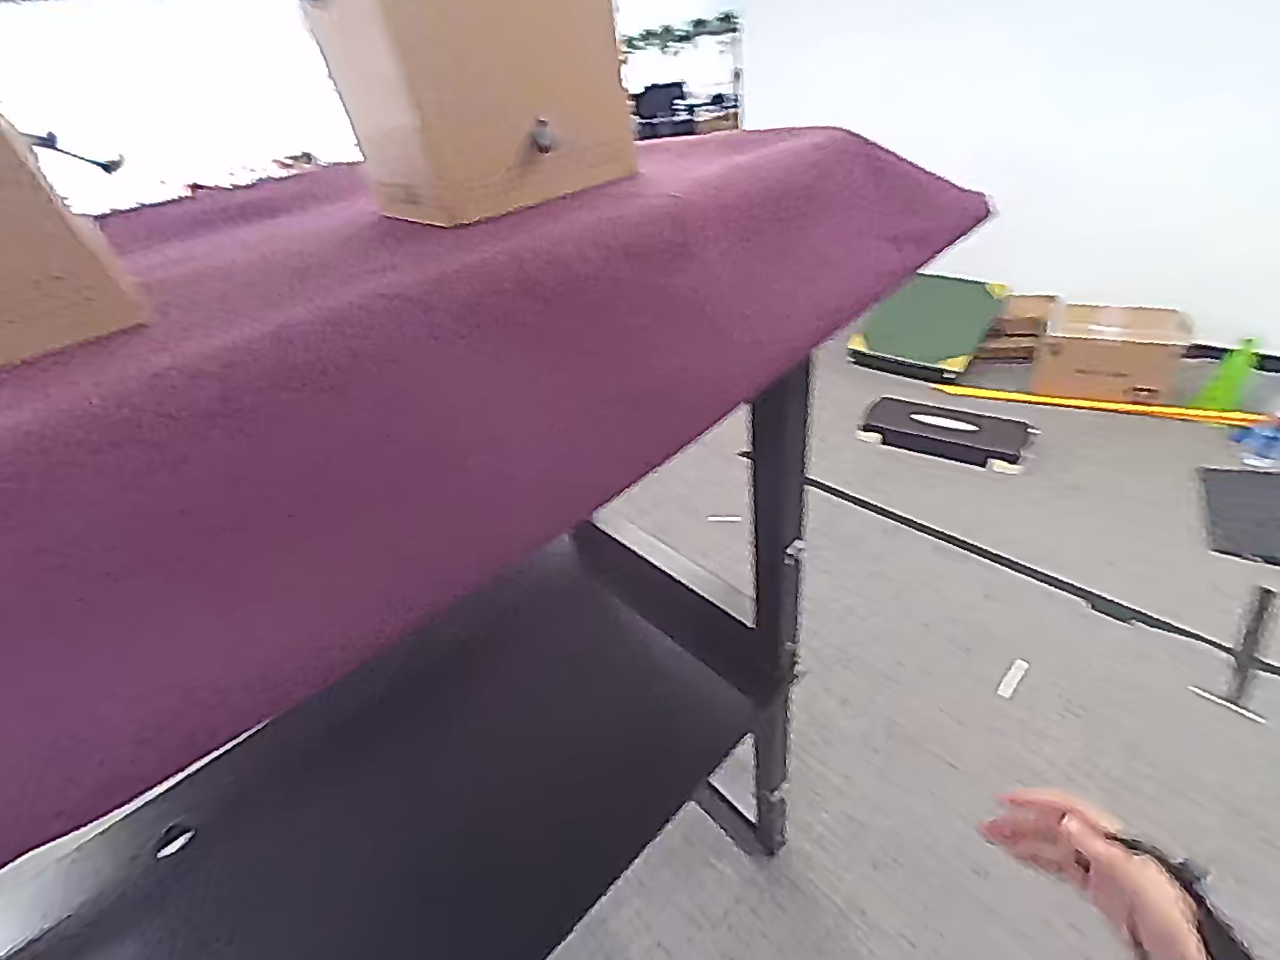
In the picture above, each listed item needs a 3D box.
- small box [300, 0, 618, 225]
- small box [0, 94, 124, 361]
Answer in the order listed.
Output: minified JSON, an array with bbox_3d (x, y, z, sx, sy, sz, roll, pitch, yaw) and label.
[{"bbox_3d":[-0.132,-0.312,0.419,0.179,0.176,0.168,-32,41,-27],"label":"small box"},{"bbox_3d":[-0.392,-0.137,0.252,0.179,0.176,0.168,-34,42,-28],"label":"small box"}]
